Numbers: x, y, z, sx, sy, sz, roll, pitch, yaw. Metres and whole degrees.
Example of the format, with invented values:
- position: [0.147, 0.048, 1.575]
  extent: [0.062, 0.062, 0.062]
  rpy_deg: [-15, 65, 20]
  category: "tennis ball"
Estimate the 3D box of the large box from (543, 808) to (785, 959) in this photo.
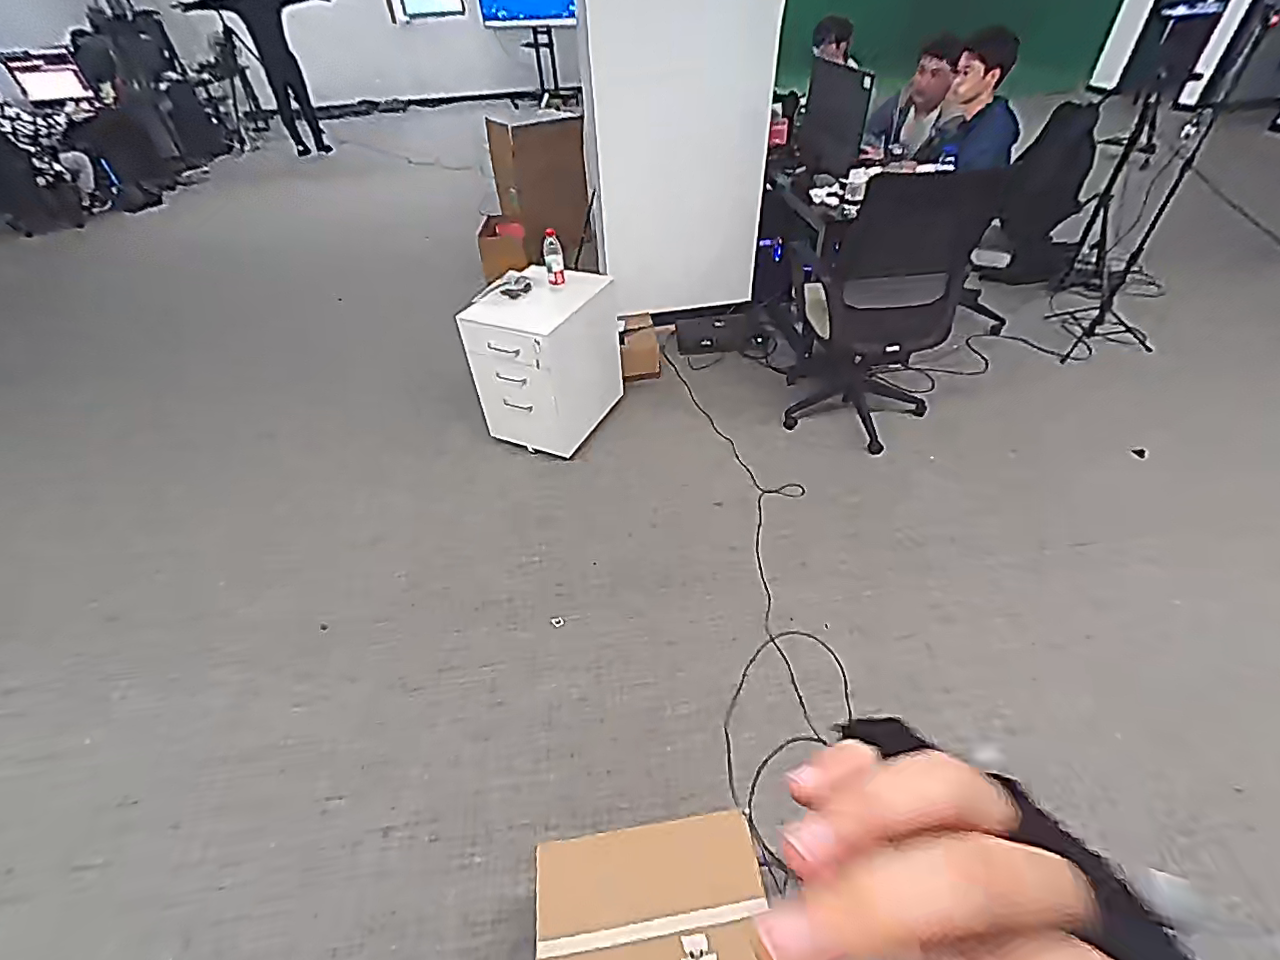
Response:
- position: [0.040, 0.883, 1.033]
  extent: [0.408, 0.320, 0.320]
  rpy_deg: [-8, 43, -4]
  category: "large box"
